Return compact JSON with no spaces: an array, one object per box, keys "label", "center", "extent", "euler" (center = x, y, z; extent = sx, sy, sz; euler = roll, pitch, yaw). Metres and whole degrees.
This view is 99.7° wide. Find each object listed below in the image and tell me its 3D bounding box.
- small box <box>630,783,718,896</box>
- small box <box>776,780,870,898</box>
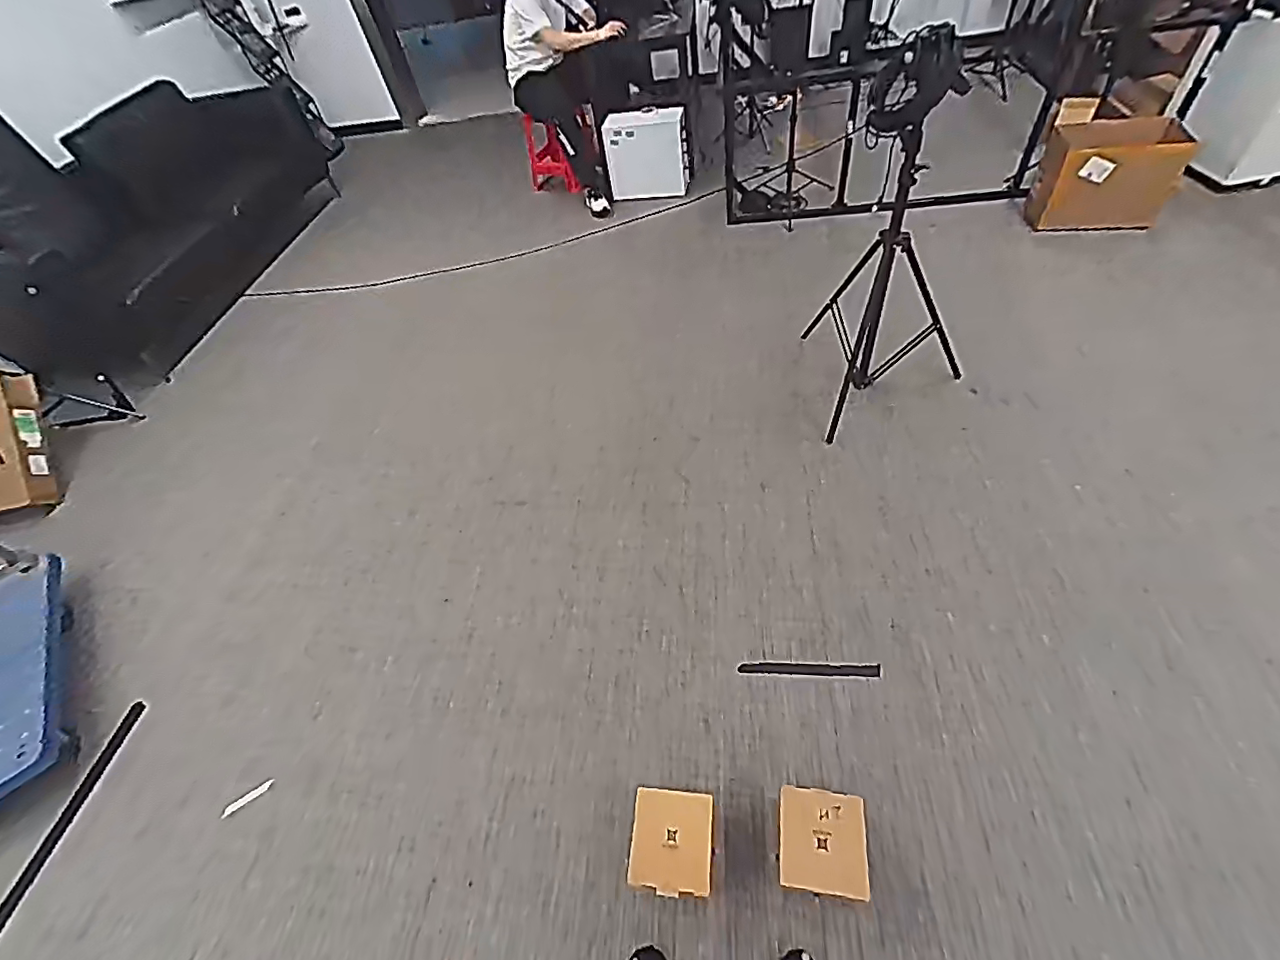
[{"label":"small box","center":[0.081,0.779,1.171],"extent":[0.168,0.176,0.179],"euler":[0,52,11]},{"label":"small box","center":[0.376,0.753,1.131],"extent":[0.168,0.176,0.179],"euler":[2,52,12]}]
